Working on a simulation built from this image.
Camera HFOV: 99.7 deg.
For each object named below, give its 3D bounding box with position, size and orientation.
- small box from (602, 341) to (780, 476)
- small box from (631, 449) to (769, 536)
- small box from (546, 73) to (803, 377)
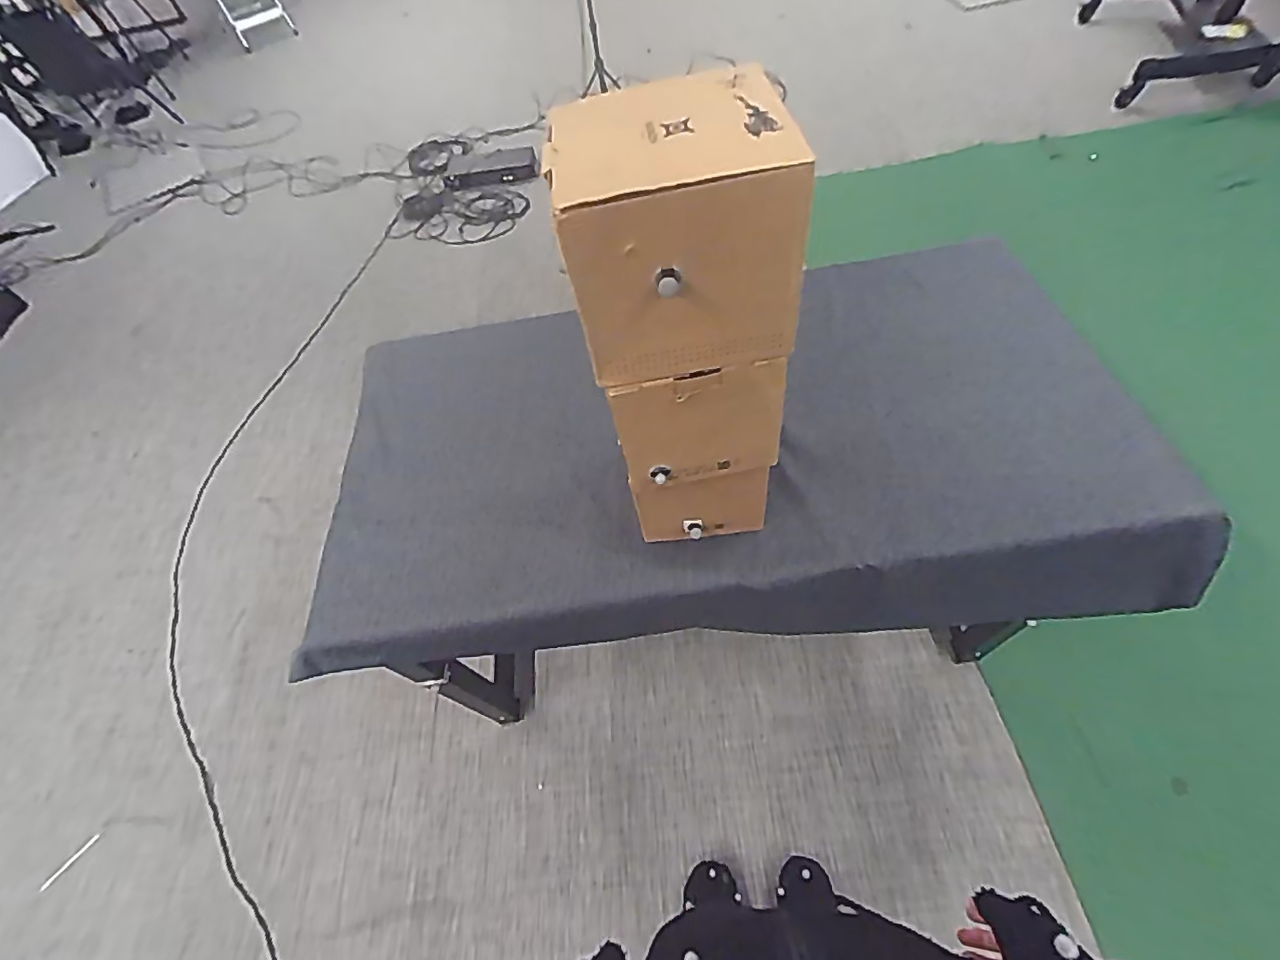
[{"bbox_3d":[0.048,-0.121,0.604,0.168,0.176,0.179,-14,56,1],"label":"small box"},{"bbox_3d":[0.075,-0.044,0.746,0.168,0.176,0.179,-9,57,5],"label":"small box"},{"bbox_3d":[0.027,-0.213,0.472,0.179,0.176,0.168,-12,54,2],"label":"small box"}]
